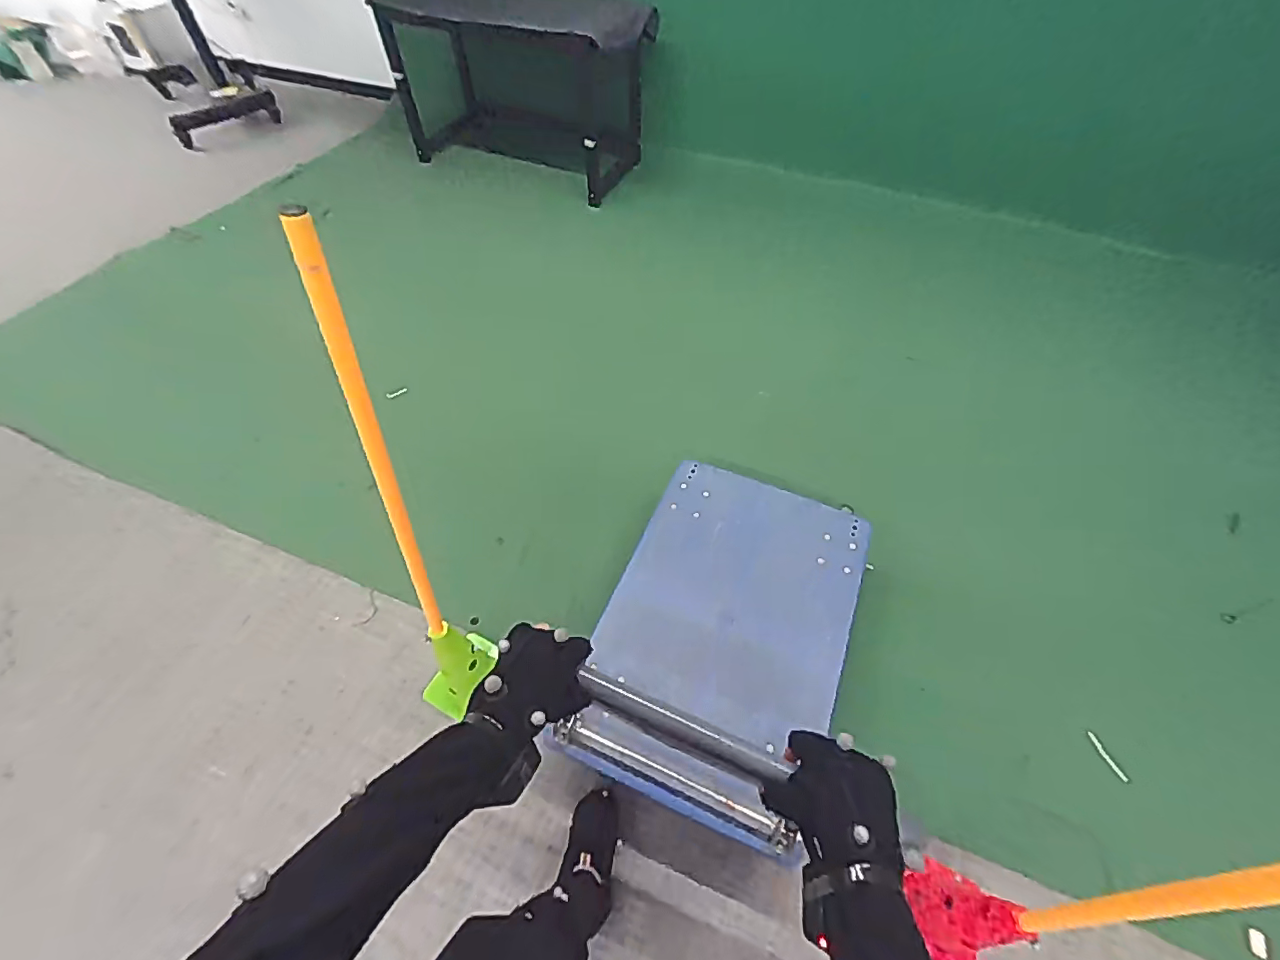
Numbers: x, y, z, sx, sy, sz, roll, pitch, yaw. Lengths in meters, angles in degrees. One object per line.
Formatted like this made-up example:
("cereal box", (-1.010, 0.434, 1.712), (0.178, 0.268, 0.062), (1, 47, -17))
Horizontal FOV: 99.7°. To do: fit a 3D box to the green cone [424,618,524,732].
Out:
("green cone", (-0.428, 0.417, 1.277), (0.202, 0.368, 0.200), (23, 55, 16))
